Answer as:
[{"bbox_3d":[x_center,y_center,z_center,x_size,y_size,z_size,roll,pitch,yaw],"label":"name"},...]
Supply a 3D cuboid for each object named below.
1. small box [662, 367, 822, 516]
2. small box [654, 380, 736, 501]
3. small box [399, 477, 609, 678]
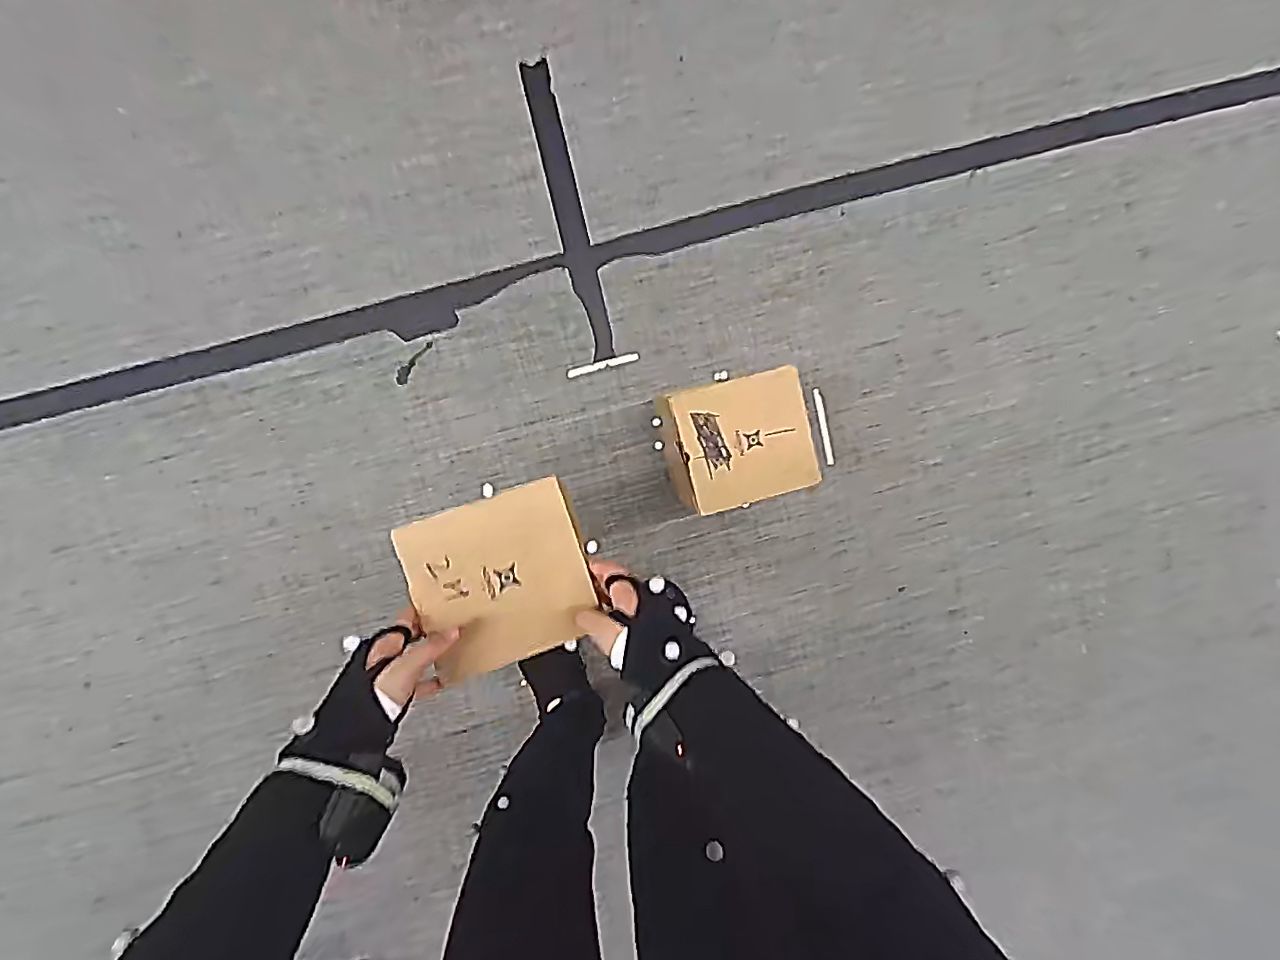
[{"bbox_3d":[0.135,-0.057,0.788,0.179,0.176,0.168,-15,98,-4],"label":"small box"},{"bbox_3d":[0.127,-0.077,0.953,0.168,0.176,0.179,-14,99,-3],"label":"small box"},{"bbox_3d":[-0.145,0.099,0.630,0.179,0.176,0.168,-19,89,-5],"label":"small box"}]
